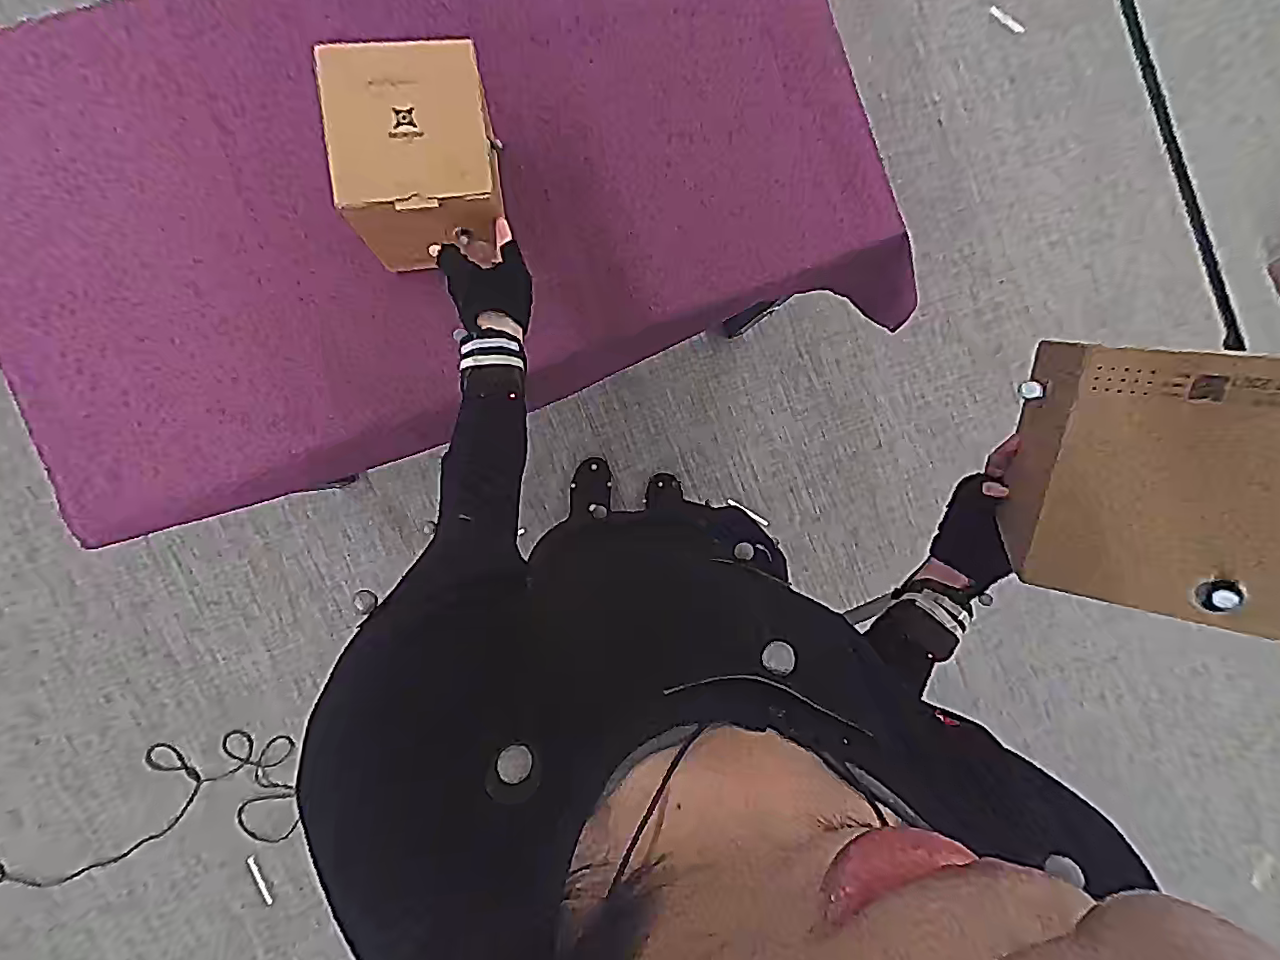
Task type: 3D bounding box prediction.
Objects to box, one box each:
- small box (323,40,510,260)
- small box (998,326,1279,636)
[{"bbox_3d":[-0.256,-0.382,0.658,0.168,0.176,0.179,-7,89,-9],"label":"small box"},{"bbox_3d":[0.381,-0.017,0.388,0.168,0.179,0.176,12,109,26],"label":"small box"}]
